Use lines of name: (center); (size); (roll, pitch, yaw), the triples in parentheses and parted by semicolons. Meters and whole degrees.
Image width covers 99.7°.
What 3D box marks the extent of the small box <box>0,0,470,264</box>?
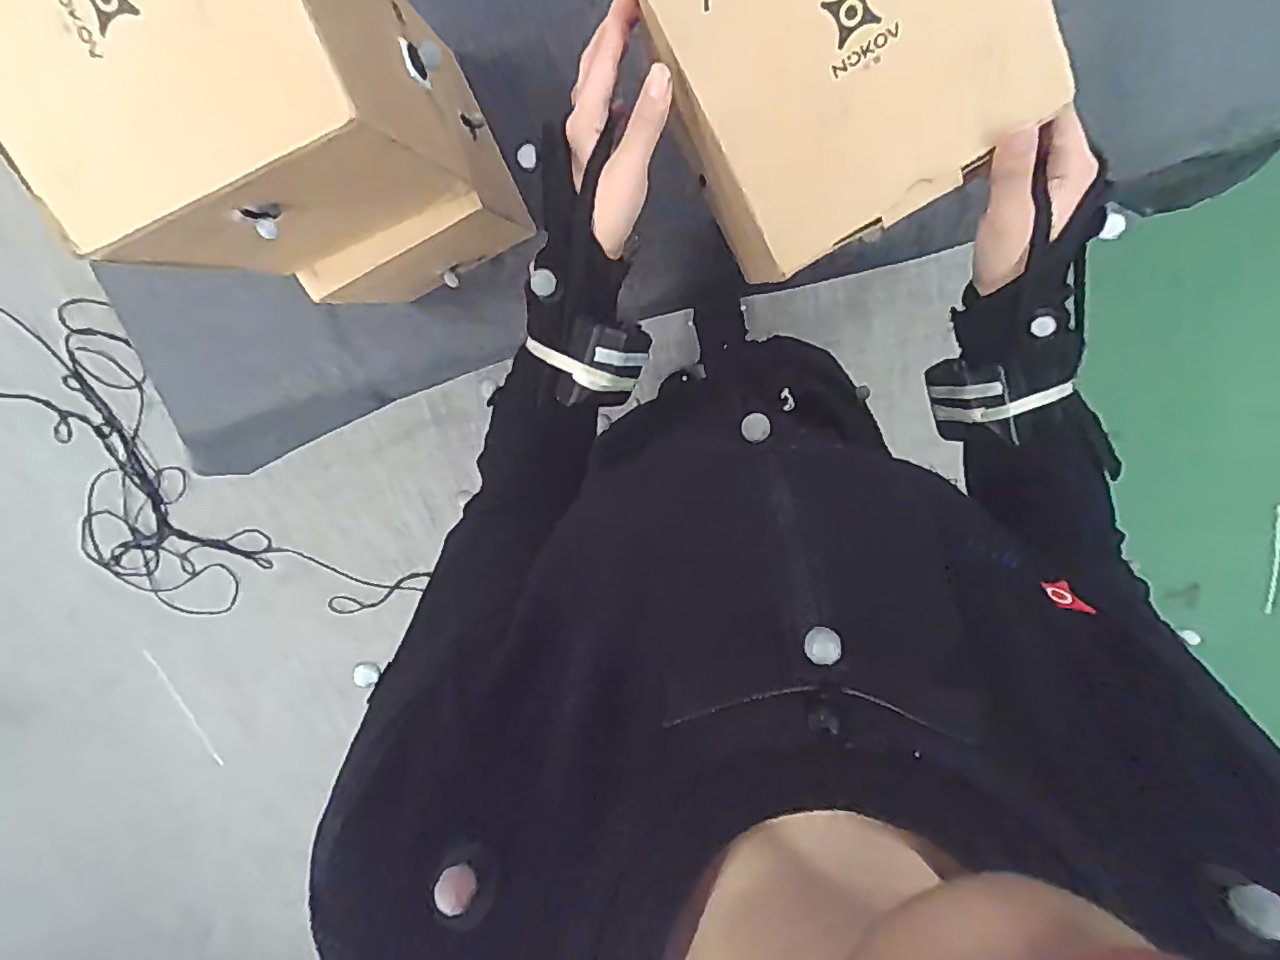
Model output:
small box: (-0.232, -0.238, 0.313); (0.179, 0.176, 0.168); (-19, 107, 9)

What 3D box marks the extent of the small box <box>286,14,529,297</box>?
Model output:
small box: (-0.222, -0.274, 0.472); (0.168, 0.176, 0.179); (-23, 106, 11)
